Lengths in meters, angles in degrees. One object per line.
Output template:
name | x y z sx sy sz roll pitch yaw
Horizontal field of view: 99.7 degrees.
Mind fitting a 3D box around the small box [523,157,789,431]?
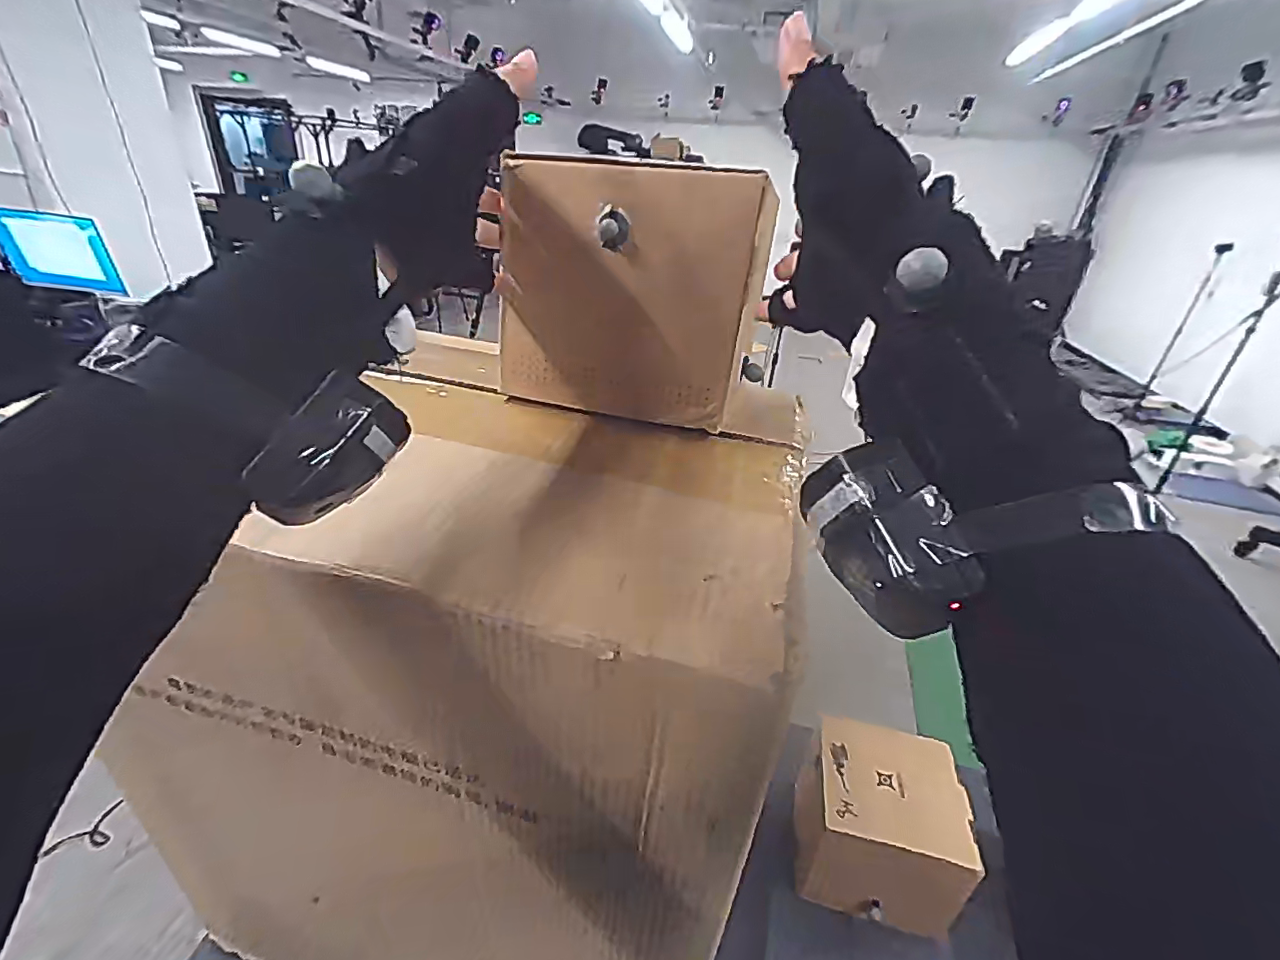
small box | 0.015 -0.148 0.445 0.179 0.176 0.168 13 24 12
